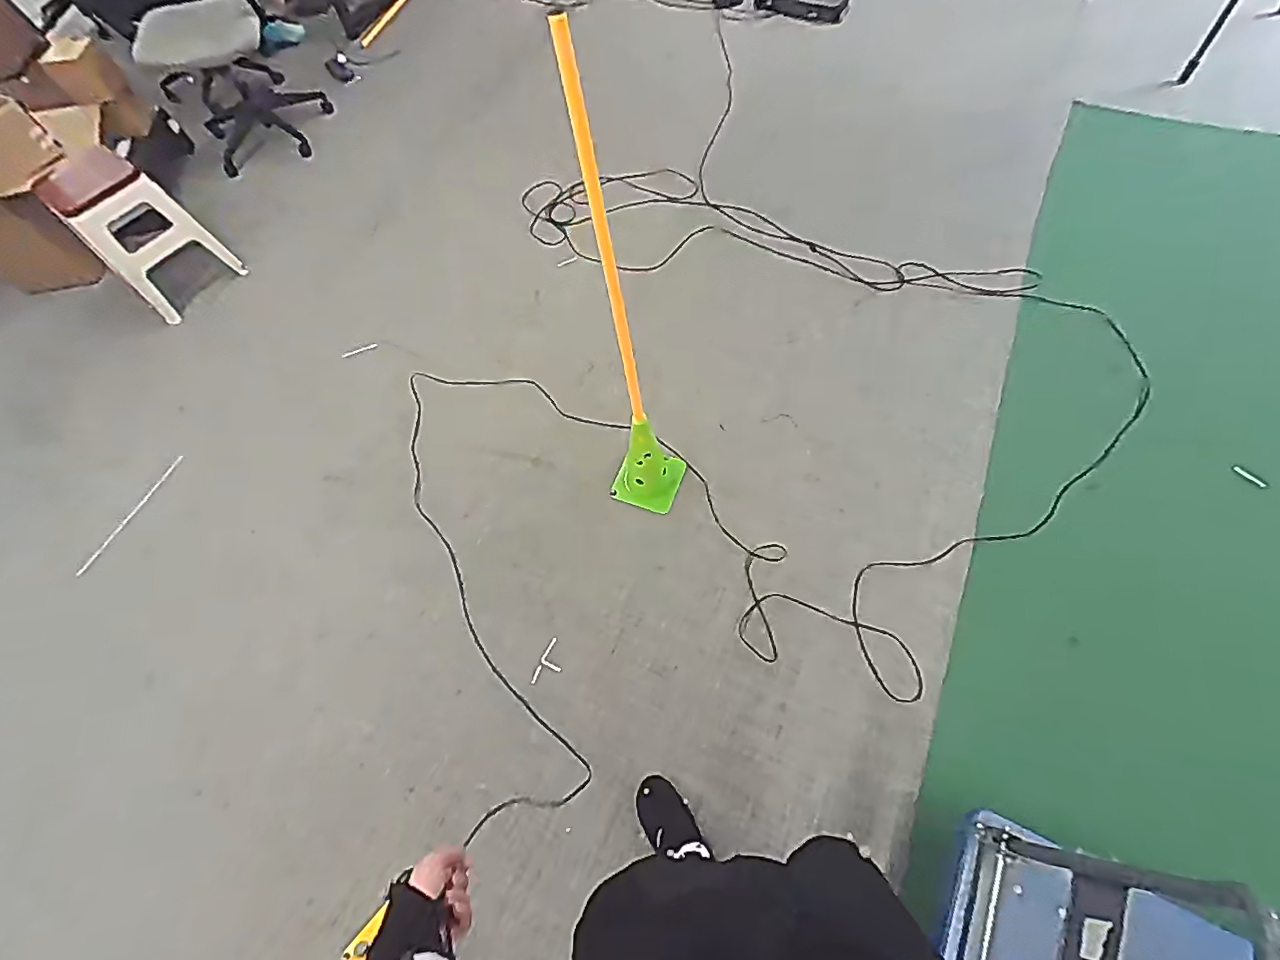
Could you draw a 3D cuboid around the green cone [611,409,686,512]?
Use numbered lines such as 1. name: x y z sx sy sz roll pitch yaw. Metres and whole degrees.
1. green cone: 0.017 -0.084 1.574 0.200 0.368 0.202 17 65 13
